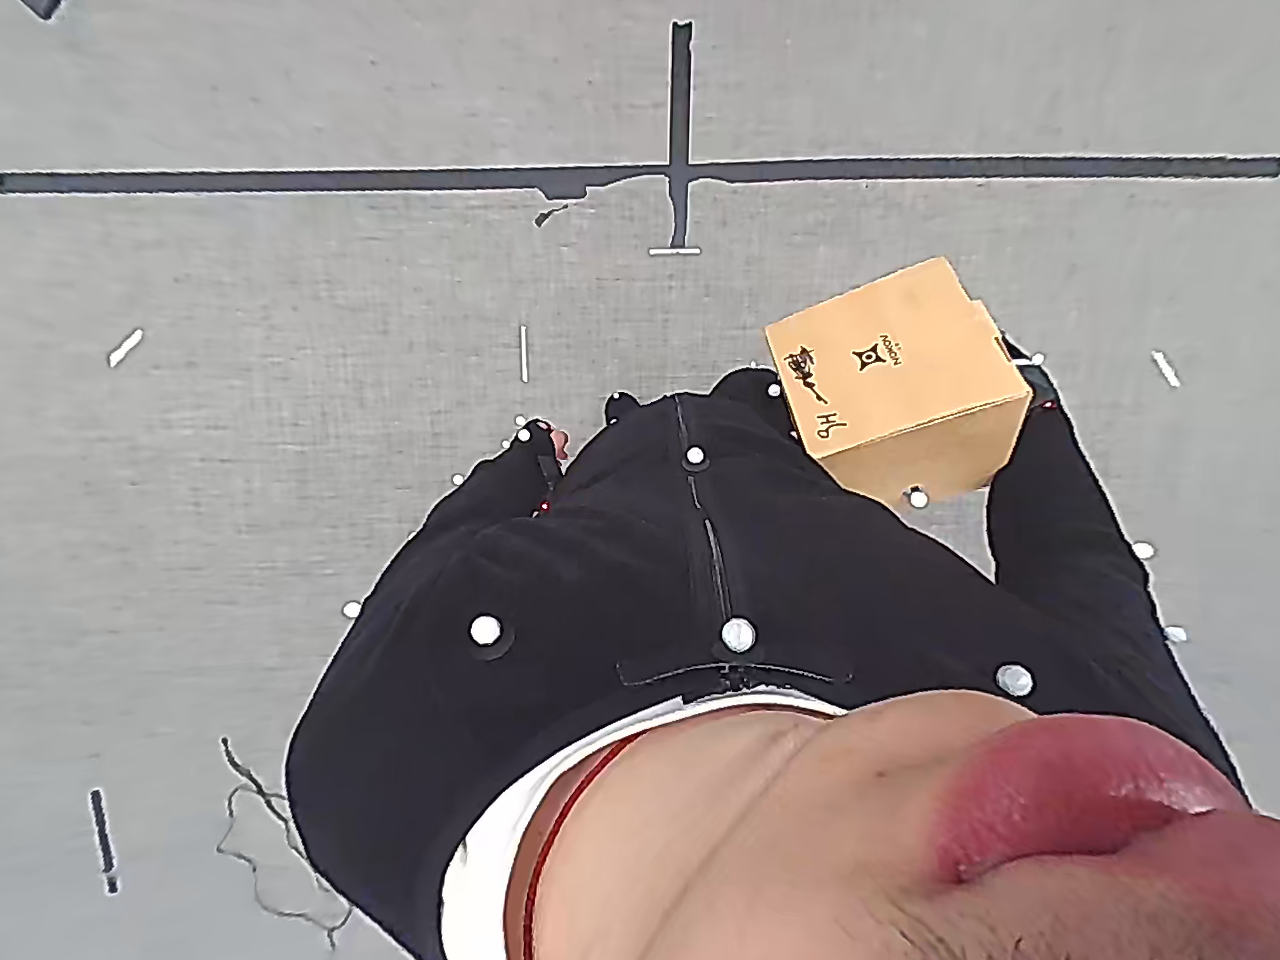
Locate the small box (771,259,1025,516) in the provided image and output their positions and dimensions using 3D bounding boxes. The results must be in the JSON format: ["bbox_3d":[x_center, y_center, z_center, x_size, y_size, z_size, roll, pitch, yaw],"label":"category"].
[{"bbox_3d":[0.253,-0.083,0.562,0.179,0.176,0.168,-18,57,16],"label":"small box"}]
